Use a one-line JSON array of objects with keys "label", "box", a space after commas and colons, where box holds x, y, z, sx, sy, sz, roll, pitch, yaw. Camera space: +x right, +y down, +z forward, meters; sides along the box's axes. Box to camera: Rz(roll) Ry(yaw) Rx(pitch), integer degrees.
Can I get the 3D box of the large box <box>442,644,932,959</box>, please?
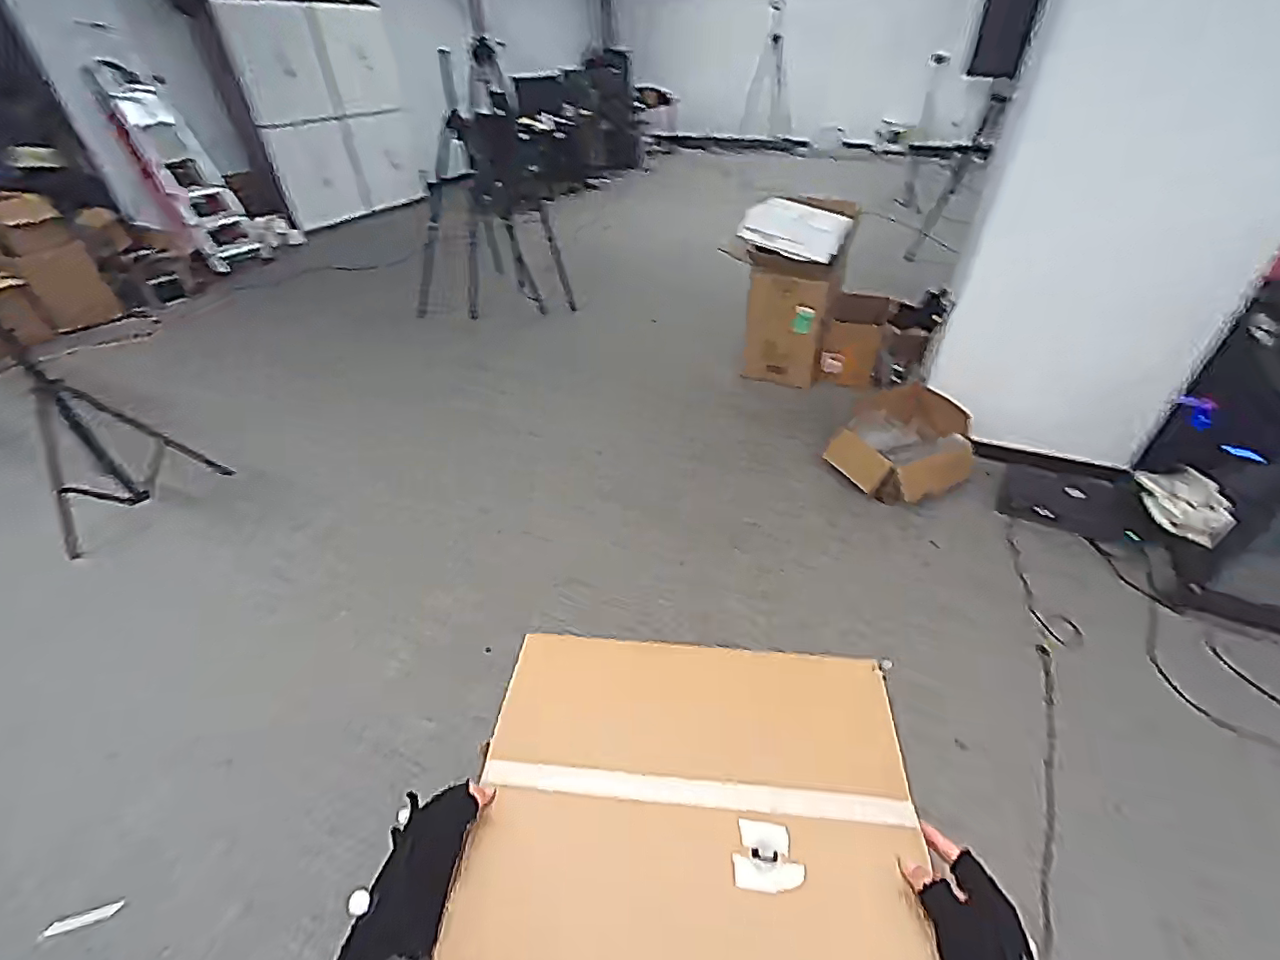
[{"label": "large box", "box": [0.049, 0.419, 0.627, 0.408, 0.320, 0.320, 2, 42, 5]}]
